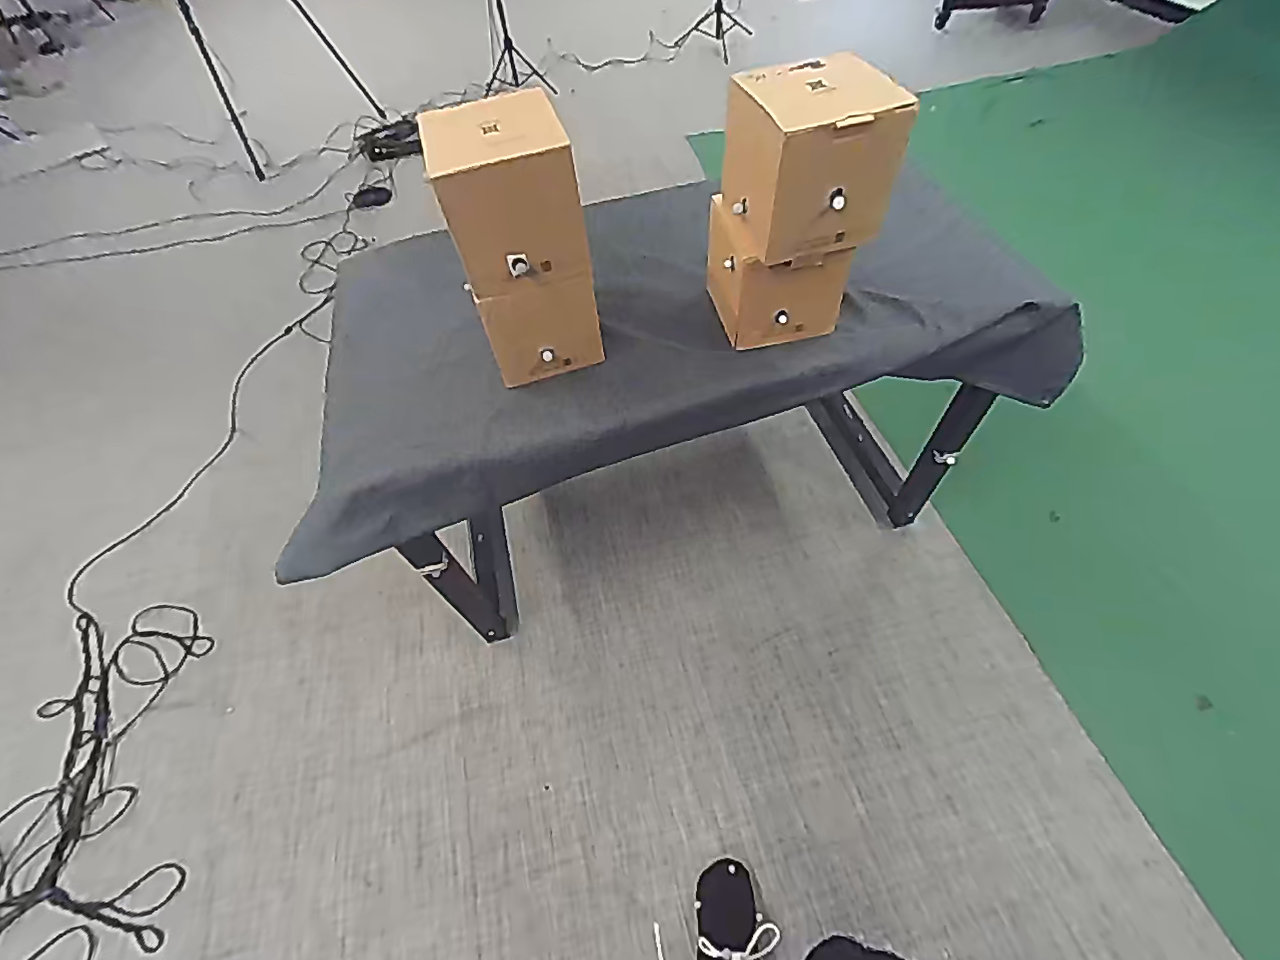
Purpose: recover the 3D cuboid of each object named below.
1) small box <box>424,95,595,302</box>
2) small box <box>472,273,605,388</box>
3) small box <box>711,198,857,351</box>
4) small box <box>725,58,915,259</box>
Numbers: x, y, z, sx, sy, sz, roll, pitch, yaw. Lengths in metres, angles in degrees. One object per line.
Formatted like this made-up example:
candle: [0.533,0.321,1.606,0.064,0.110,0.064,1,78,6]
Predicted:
small box: [-0.169,-0.371,0.720,0.168,0.176,0.179,-18,57,-6]
small box: [-0.161,-0.277,0.852,0.168,0.176,0.179,-18,56,-7]
small box: [0.214,-0.335,0.861,0.168,0.176,0.179,-12,55,-3]
small box: [0.220,-0.416,0.717,0.168,0.176,0.179,-15,56,-5]
